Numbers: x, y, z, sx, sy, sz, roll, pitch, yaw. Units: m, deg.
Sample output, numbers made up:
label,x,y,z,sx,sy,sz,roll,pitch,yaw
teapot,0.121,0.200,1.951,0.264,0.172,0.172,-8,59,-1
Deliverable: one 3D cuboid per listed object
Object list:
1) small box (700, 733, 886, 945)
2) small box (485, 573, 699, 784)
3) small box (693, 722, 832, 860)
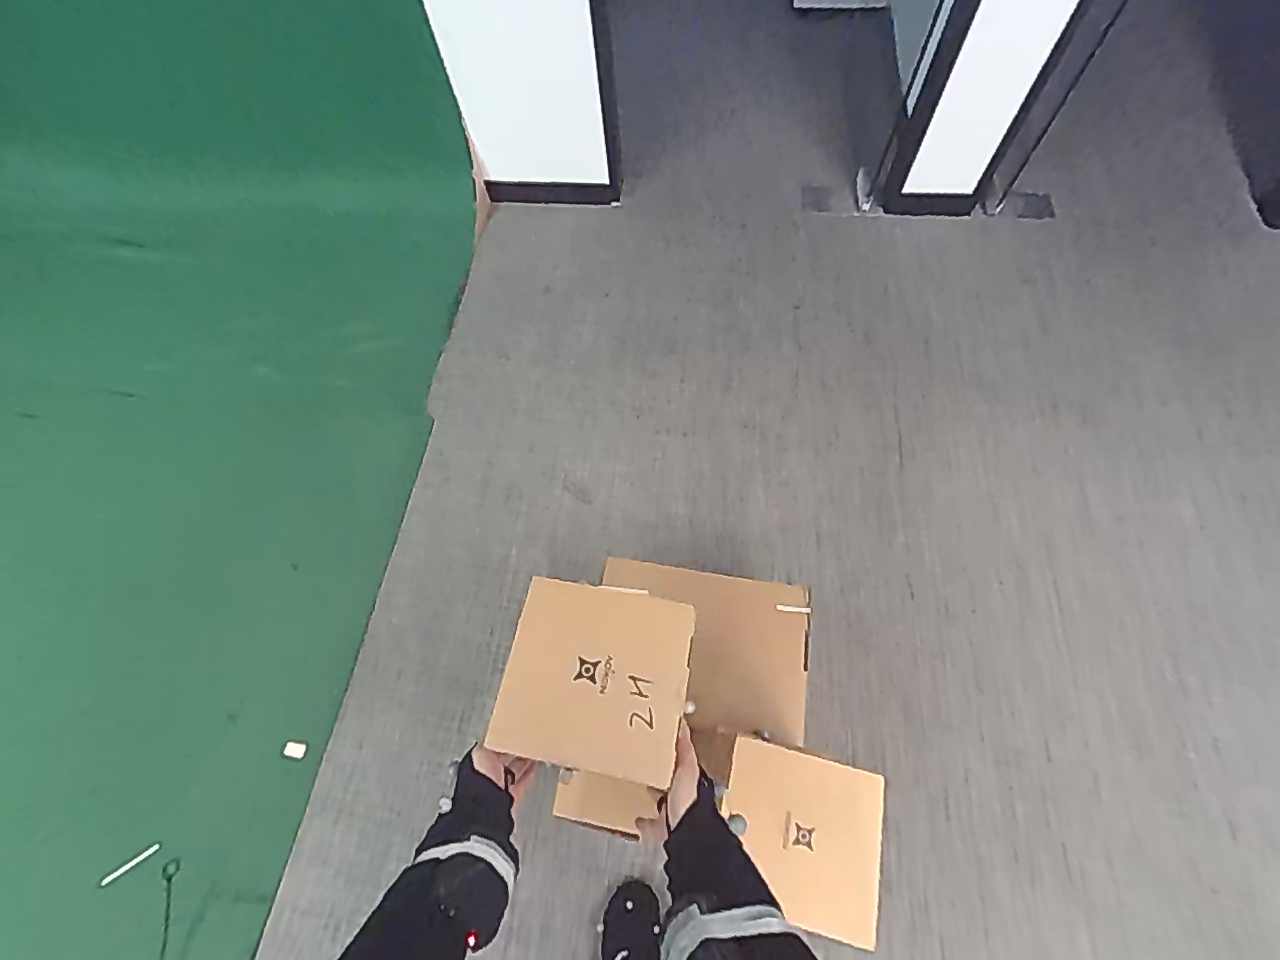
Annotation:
label,x,y,z,sx,sy,sz,roll,pitch,yaw
small box,0.178,0.419,0.665,0.179,0.176,0.168,12,65,8
small box,-0.038,0.217,0.583,0.179,0.176,0.168,9,64,7
small box,0.177,0.481,0.817,0.168,0.176,0.179,12,64,7
